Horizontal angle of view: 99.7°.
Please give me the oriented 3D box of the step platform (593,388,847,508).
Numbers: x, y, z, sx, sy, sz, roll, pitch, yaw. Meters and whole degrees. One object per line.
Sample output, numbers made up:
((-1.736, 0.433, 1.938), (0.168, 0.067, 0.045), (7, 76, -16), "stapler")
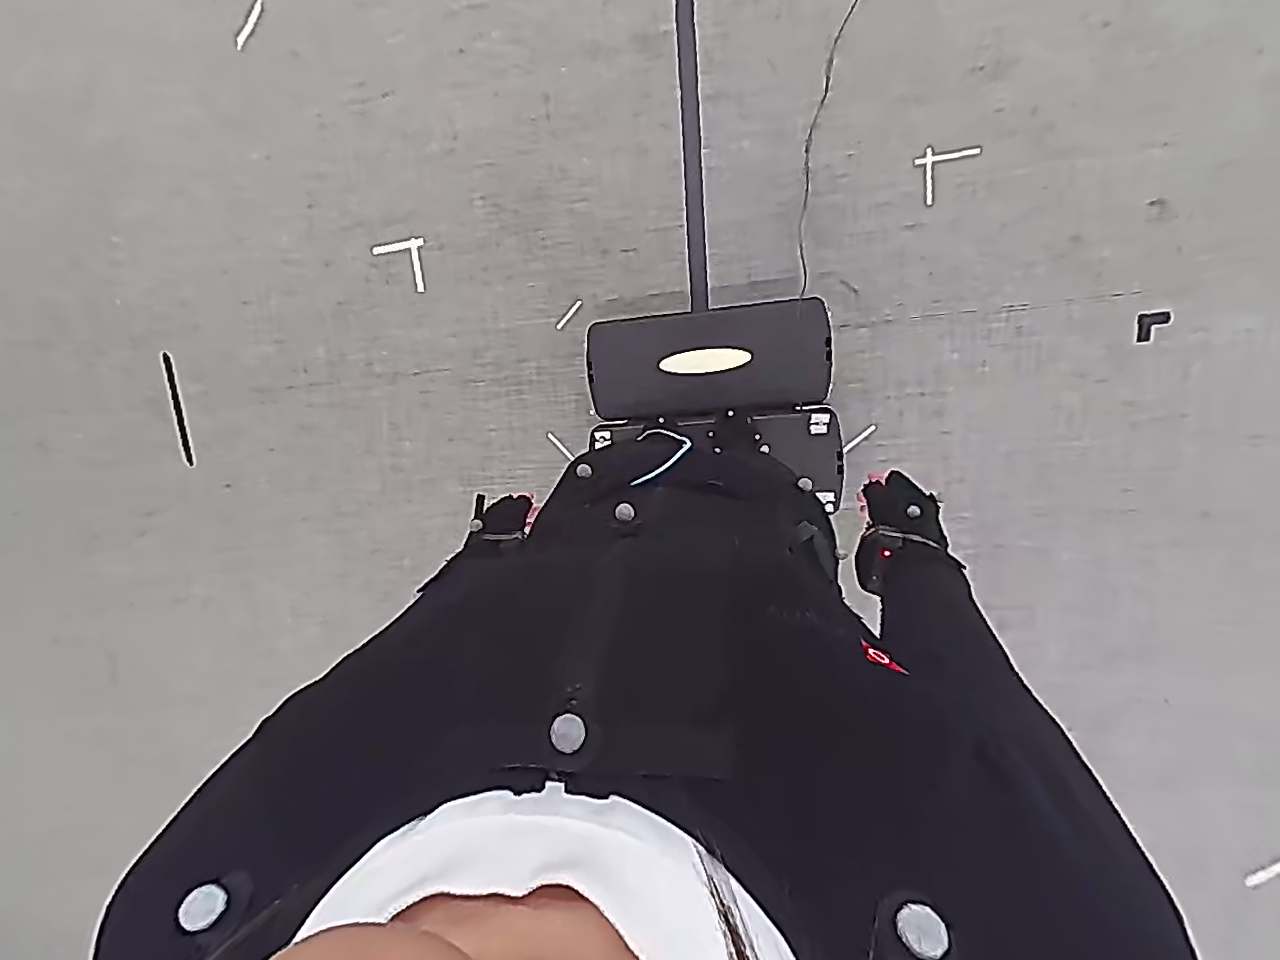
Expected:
((0.212, -0.085, 1.503), (0.684, 0.204, 0.286), (-4, 98, 12), "step platform")
